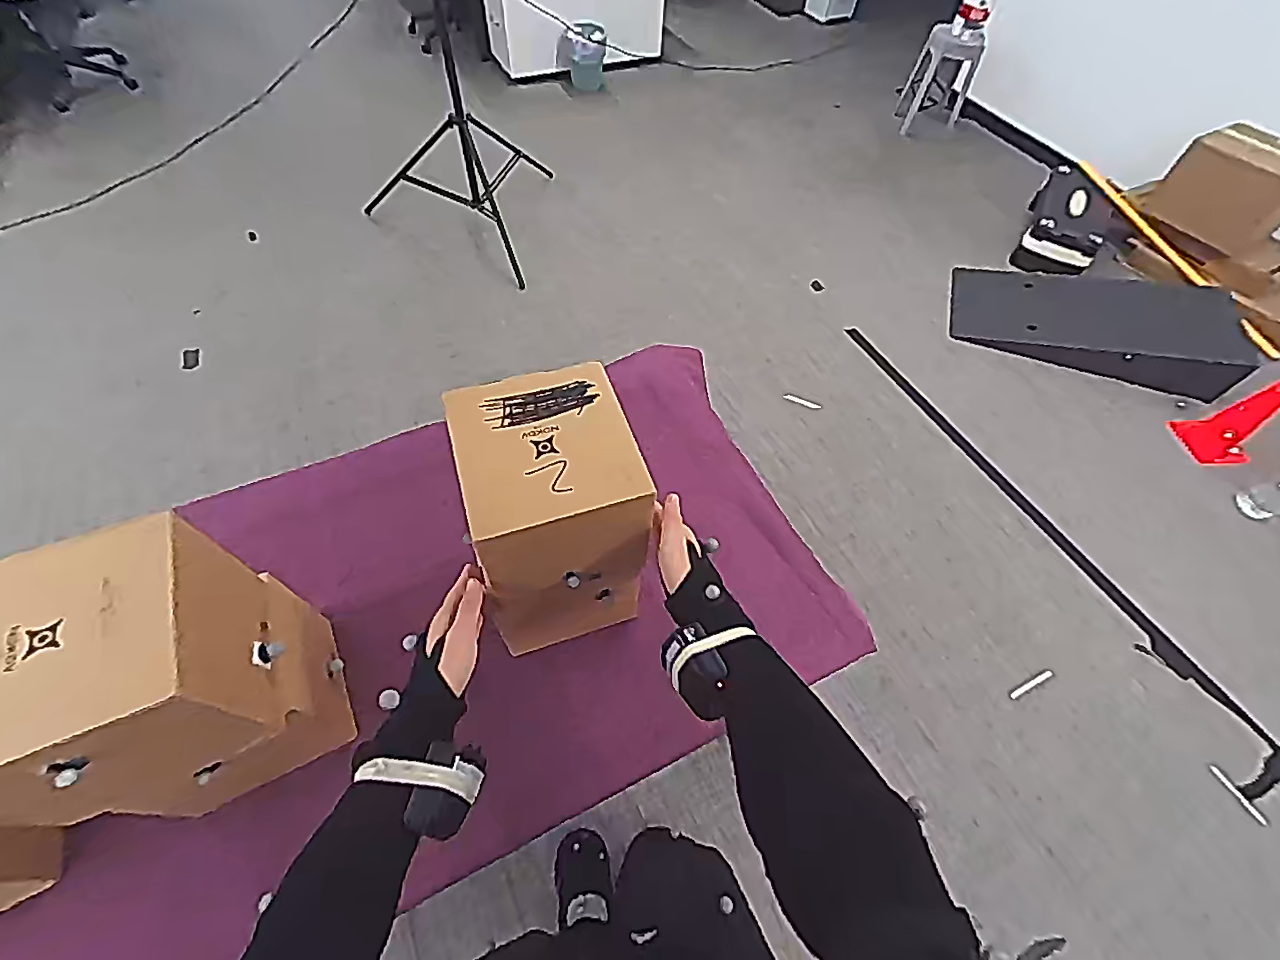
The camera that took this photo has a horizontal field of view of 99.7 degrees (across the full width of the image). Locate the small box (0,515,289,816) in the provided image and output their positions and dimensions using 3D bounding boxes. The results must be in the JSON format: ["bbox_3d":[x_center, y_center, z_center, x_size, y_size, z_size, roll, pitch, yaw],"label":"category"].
[{"bbox_3d":[-0.439,0.162,0.460,0.179,0.176,0.168,-20,61,-17],"label":"small box"}]

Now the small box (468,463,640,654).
[{"bbox_3d":[-0.111,0.106,0.710,0.179,0.176,0.168,-15,58,-12],"label":"small box"}]

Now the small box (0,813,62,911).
[{"bbox_3d":[-0.714,0.348,0.516,0.168,0.176,0.179,-24,61,-18],"label":"small box"}]

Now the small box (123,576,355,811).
[{"bbox_3d":[-0.452,0.241,0.601,0.179,0.176,0.168,-23,61,-18],"label":"small box"}]
